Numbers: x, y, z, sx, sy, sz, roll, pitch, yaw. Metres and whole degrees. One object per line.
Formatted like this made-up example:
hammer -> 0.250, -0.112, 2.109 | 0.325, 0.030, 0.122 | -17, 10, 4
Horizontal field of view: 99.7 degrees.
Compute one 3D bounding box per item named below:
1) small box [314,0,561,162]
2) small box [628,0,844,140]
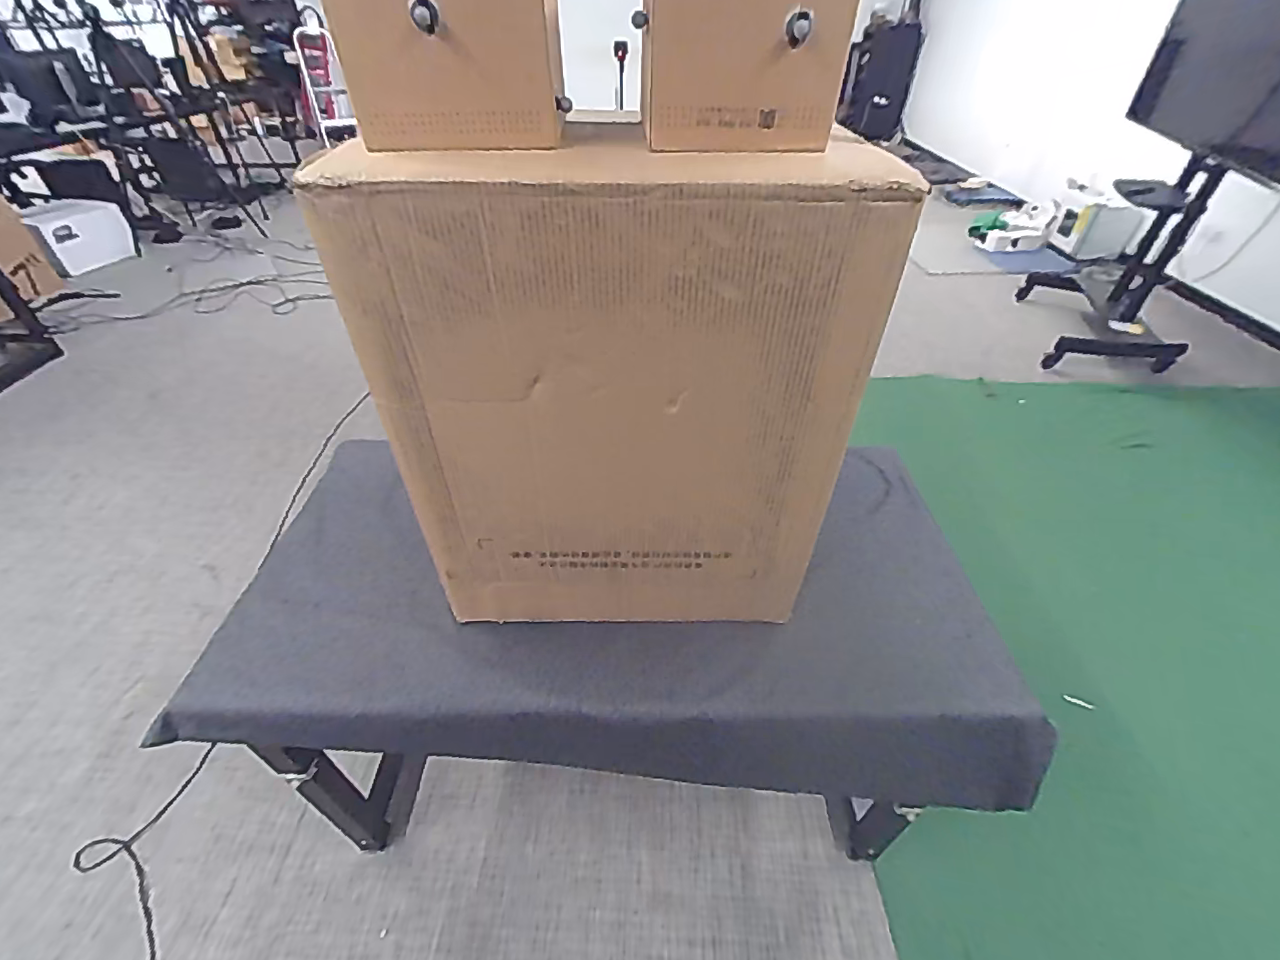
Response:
small box -> -0.171, -0.409, 0.500 | 0.179, 0.176, 0.168 | -3, 44, -1
small box -> 0.079, -0.426, 0.495 | 0.168, 0.176, 0.179 | -4, 45, -6
